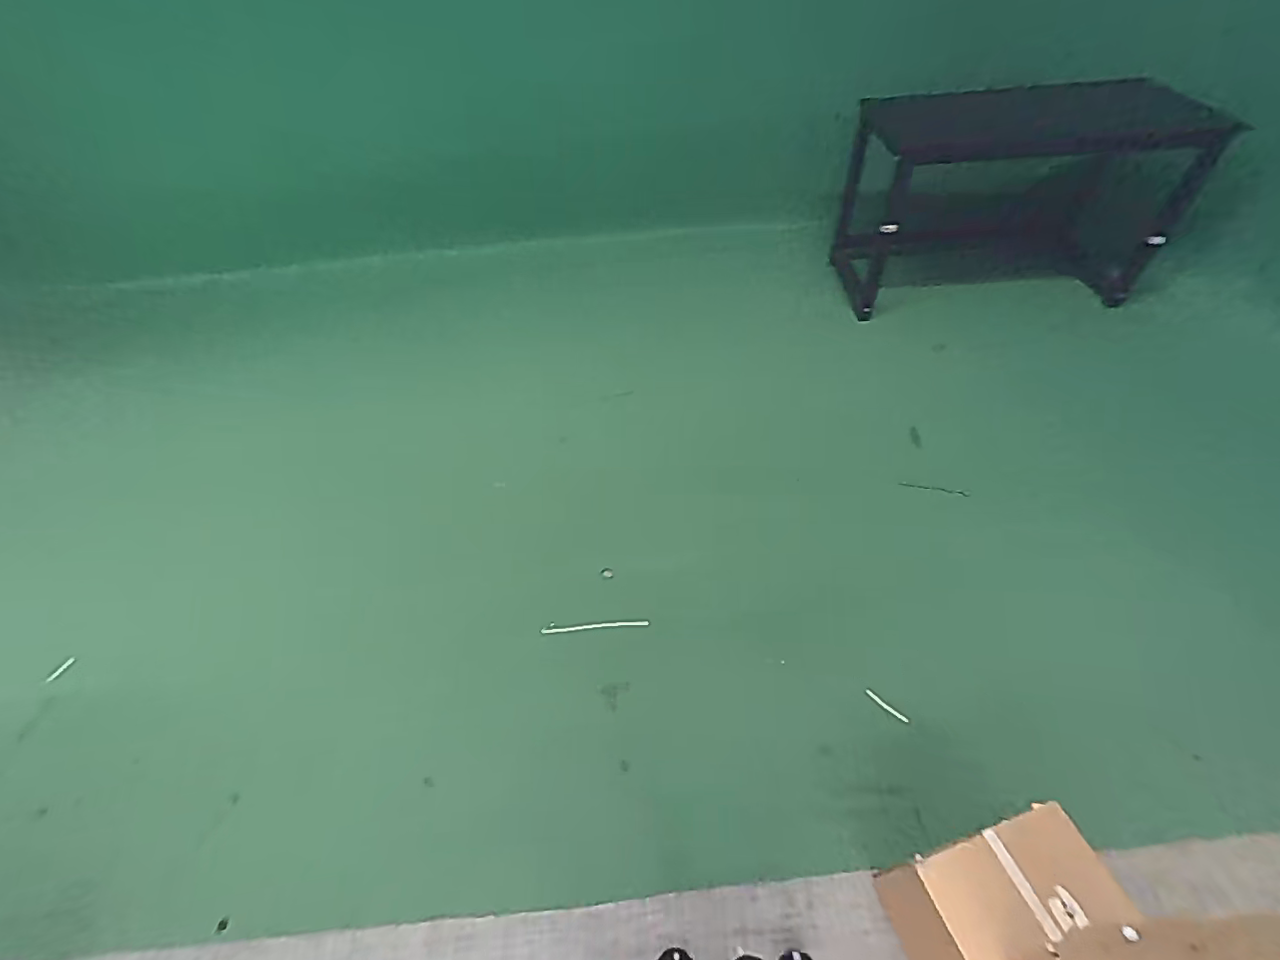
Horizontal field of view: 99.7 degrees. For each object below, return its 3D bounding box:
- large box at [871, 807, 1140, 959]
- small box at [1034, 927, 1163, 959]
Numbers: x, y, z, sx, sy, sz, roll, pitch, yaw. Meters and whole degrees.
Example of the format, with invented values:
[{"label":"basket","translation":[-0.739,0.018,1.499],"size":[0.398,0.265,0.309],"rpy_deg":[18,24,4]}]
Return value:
[{"label":"large box","translation":[0.695,0.889,0.968],"size":[0.320,0.320,0.408],"rpy_deg":[-16,48,-10]},{"label":"small box","translation":[0.681,0.762,0.755],"size":[0.179,0.176,0.168],"rpy_deg":[-16,50,-9]}]
